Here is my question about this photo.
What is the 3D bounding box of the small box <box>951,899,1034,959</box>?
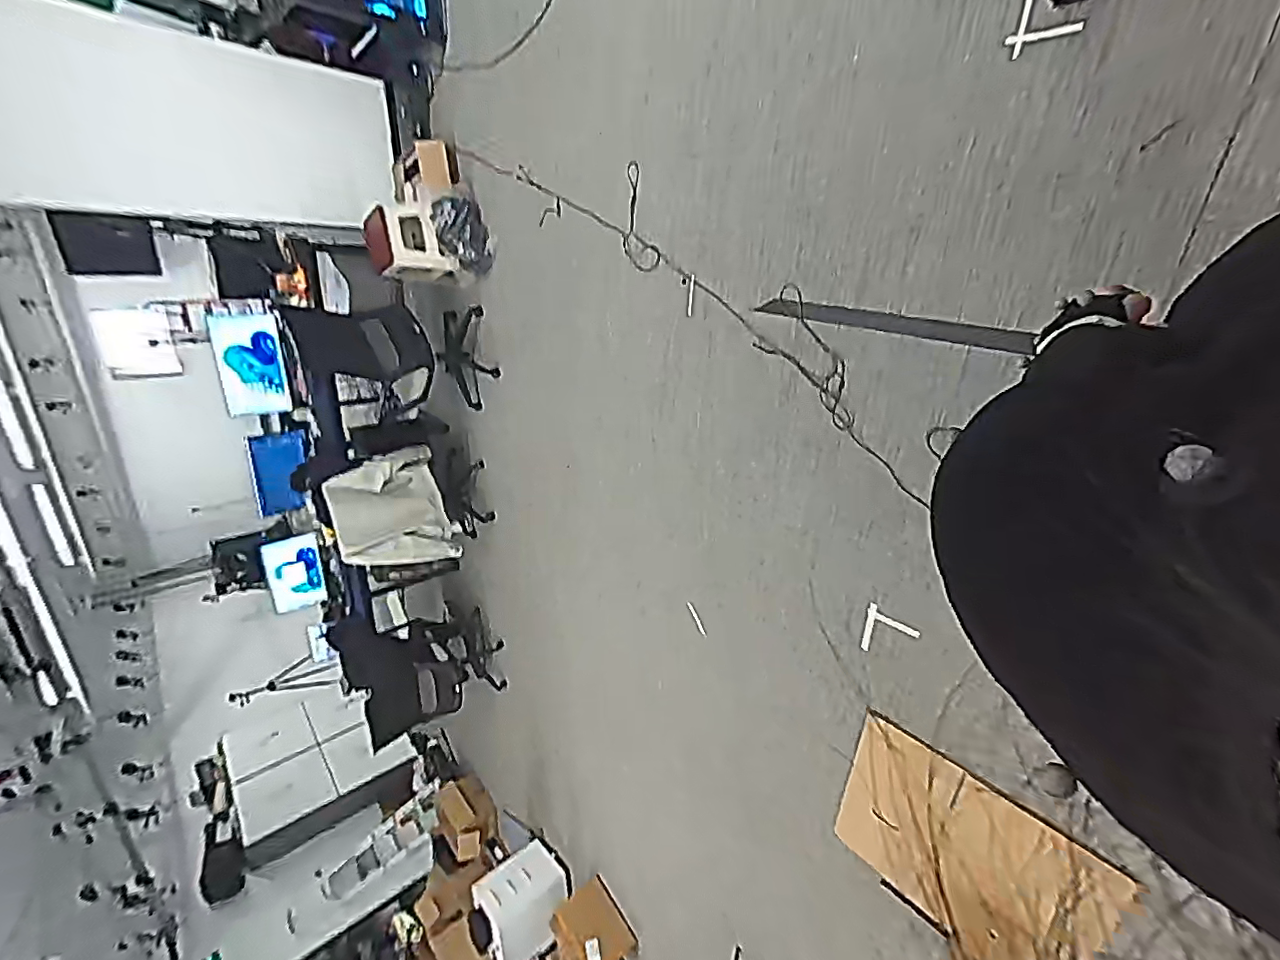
[{"bbox_3d":[1.004,1.370,1.552,0.168,0.176,0.179,18,115,45],"label":"small box"}]

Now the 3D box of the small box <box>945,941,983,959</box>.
[{"bbox_3d":[0.885,1.411,1.445,0.168,0.176,0.179,19,117,44],"label":"small box"}]
